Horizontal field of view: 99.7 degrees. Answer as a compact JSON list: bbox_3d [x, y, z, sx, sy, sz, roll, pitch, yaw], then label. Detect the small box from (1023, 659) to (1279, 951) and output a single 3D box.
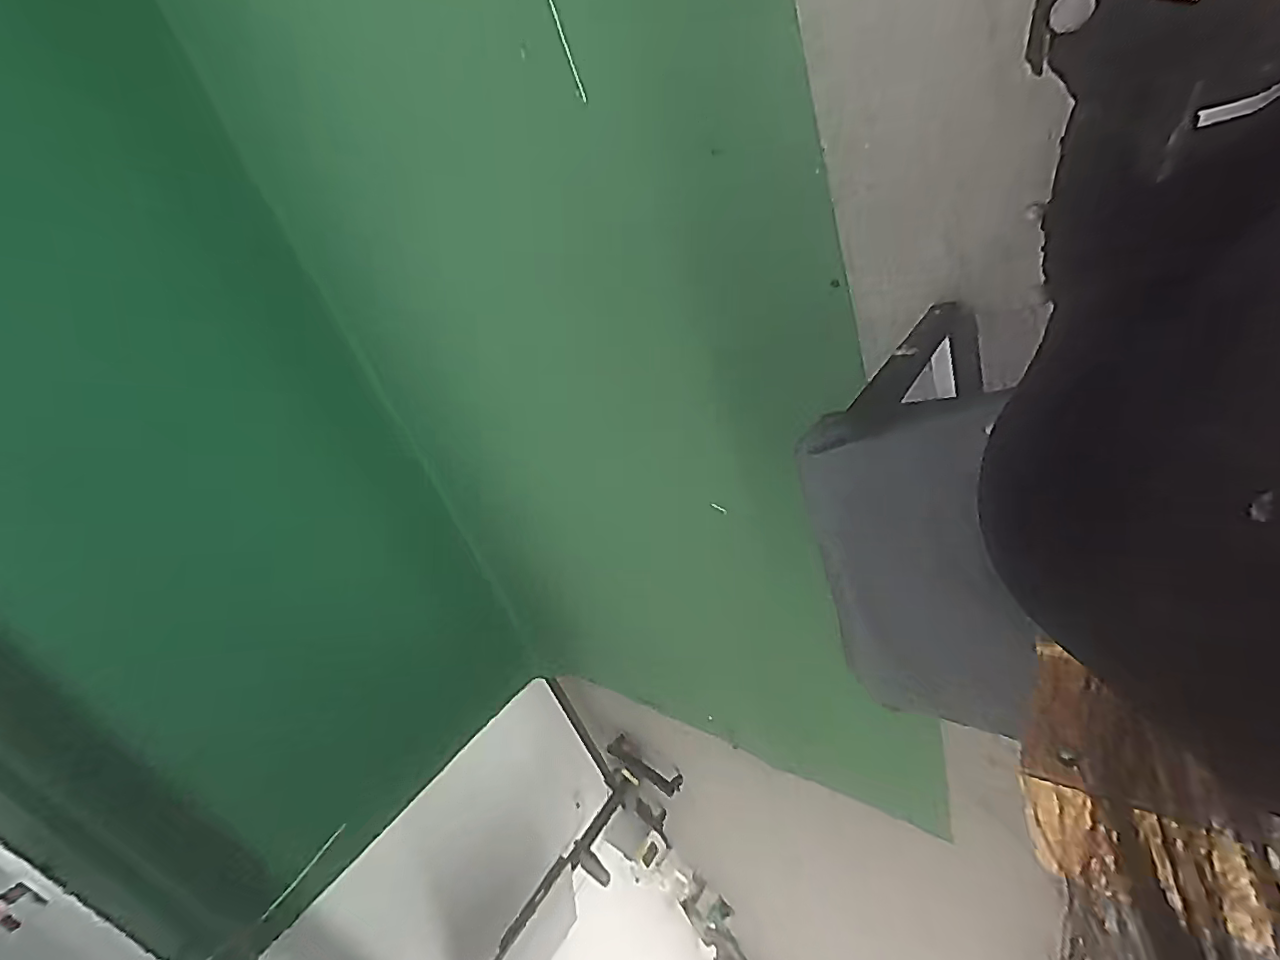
[{"bbox_3d":[0.524,0.313,0.561,0.179,0.176,0.168,-3,120,46],"label":"small box"}]
